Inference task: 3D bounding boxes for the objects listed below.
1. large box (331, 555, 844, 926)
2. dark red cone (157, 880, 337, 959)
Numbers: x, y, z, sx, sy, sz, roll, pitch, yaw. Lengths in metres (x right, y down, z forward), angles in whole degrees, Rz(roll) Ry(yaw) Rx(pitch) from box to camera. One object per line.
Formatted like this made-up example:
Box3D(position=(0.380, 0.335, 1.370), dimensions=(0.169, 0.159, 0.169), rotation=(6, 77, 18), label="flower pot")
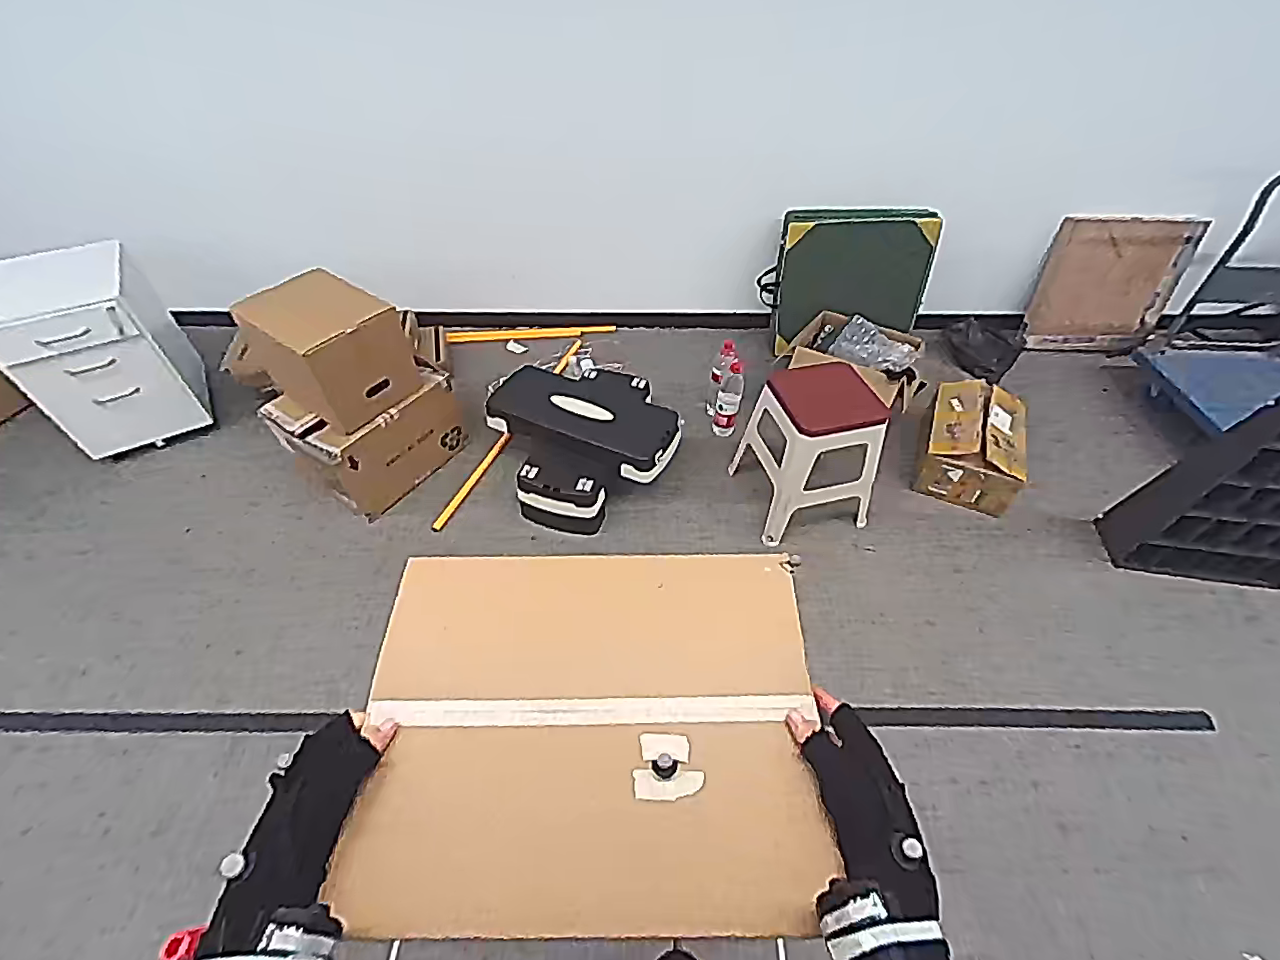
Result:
Box3D(position=(-0.042, 0.296, 0.619), dimensions=(0.408, 0.320, 0.320), rotation=(0, 55, 0), label="large box")
Box3D(position=(-0.729, 0.829, 0.971), dimensions=(0.201, 0.394, 0.202), rotation=(6, 48, 4), label="dark red cone")
